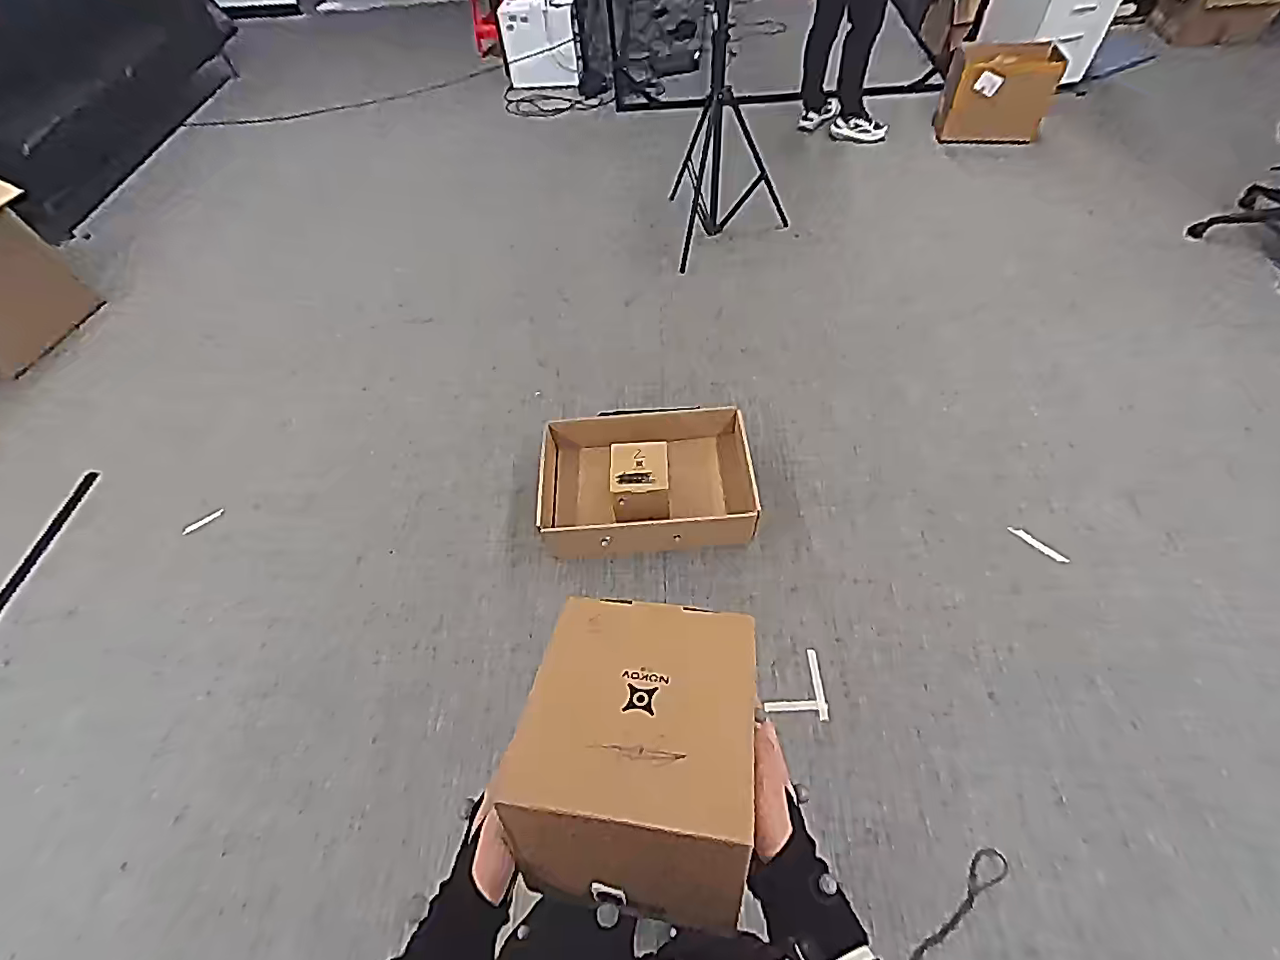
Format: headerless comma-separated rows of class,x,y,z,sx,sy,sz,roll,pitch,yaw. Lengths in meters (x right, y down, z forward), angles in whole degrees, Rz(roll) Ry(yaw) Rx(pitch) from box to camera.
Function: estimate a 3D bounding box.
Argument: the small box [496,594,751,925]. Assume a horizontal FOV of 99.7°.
small box,0.001,0.223,0.448,0.168,0.176,0.179,3,37,9
